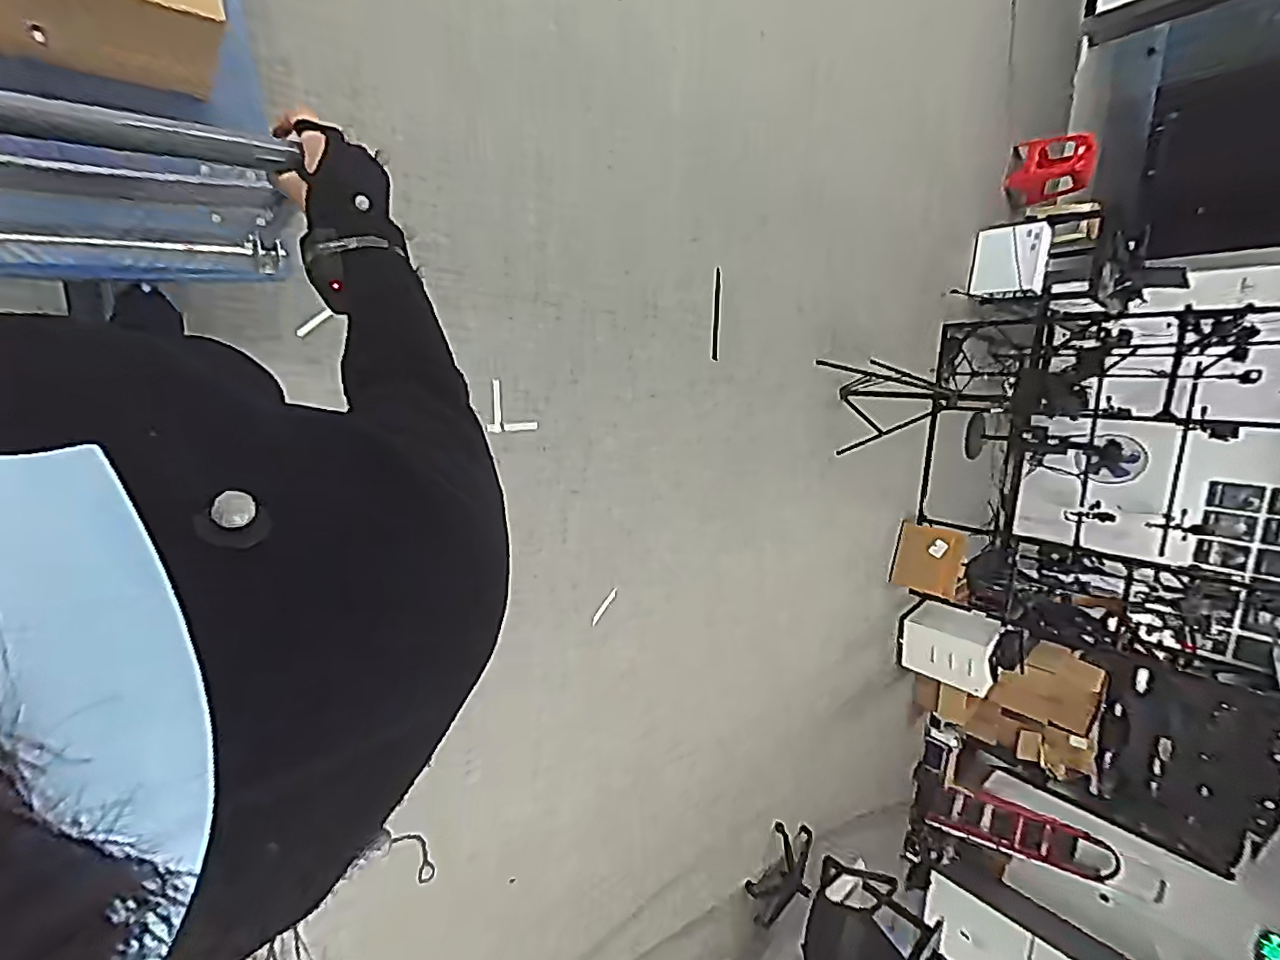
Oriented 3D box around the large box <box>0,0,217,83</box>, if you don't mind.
[{"bbox_3d":[-0.843,-0.789,0.704,0.408,0.320,0.320,-14,108,-39],"label":"large box"}]
